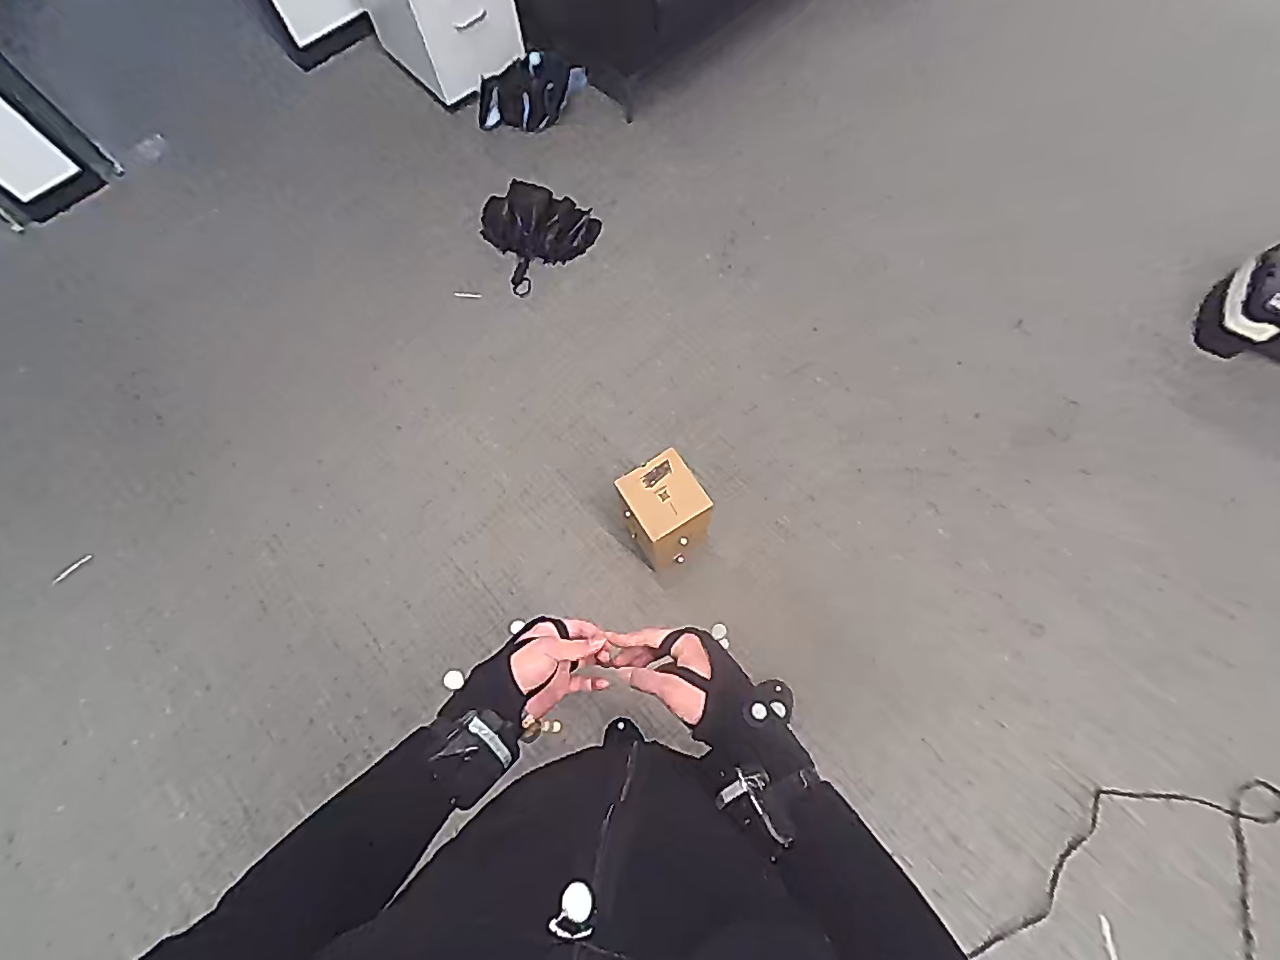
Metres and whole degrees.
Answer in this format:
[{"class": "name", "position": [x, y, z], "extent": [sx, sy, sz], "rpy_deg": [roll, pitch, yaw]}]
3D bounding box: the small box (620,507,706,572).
[{"class": "small box", "position": [0.060, 0.129, 1.473], "extent": [0.168, 0.176, 0.179], "rpy_deg": [-31, 72, -8]}]

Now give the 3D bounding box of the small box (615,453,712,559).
[{"class": "small box", "position": [0.055, 0.069, 1.320], "extent": [0.168, 0.176, 0.179], "rpy_deg": [-30, 71, -8]}]
